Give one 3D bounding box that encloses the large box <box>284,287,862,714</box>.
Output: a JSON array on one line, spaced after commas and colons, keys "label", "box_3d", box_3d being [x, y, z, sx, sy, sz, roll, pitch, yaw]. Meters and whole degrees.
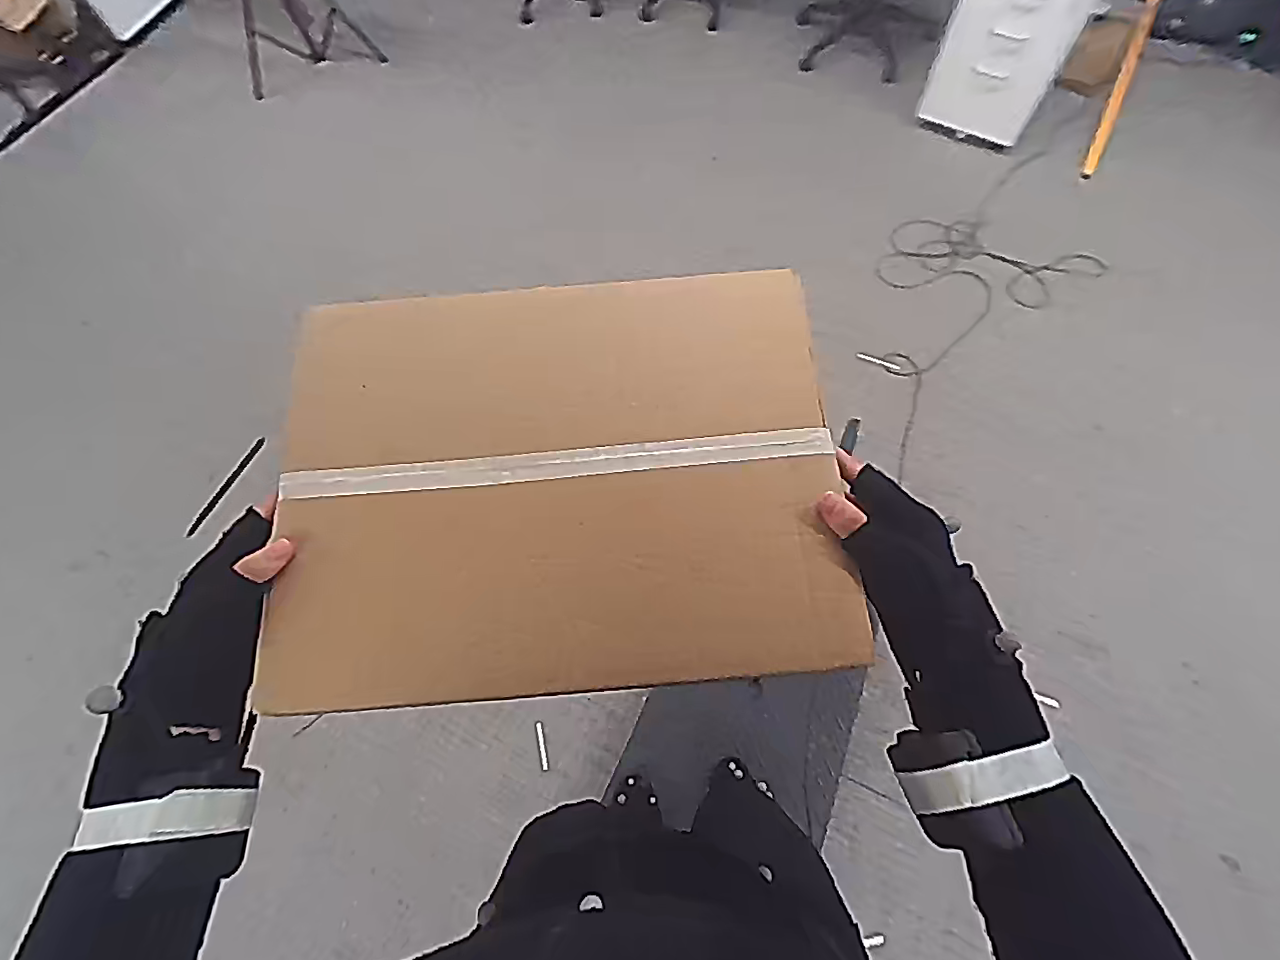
[{"label": "large box", "box_3d": [-0.051, 0.042, 0.552, 0.408, 0.320, 0.320, -4, 71, 0]}]
